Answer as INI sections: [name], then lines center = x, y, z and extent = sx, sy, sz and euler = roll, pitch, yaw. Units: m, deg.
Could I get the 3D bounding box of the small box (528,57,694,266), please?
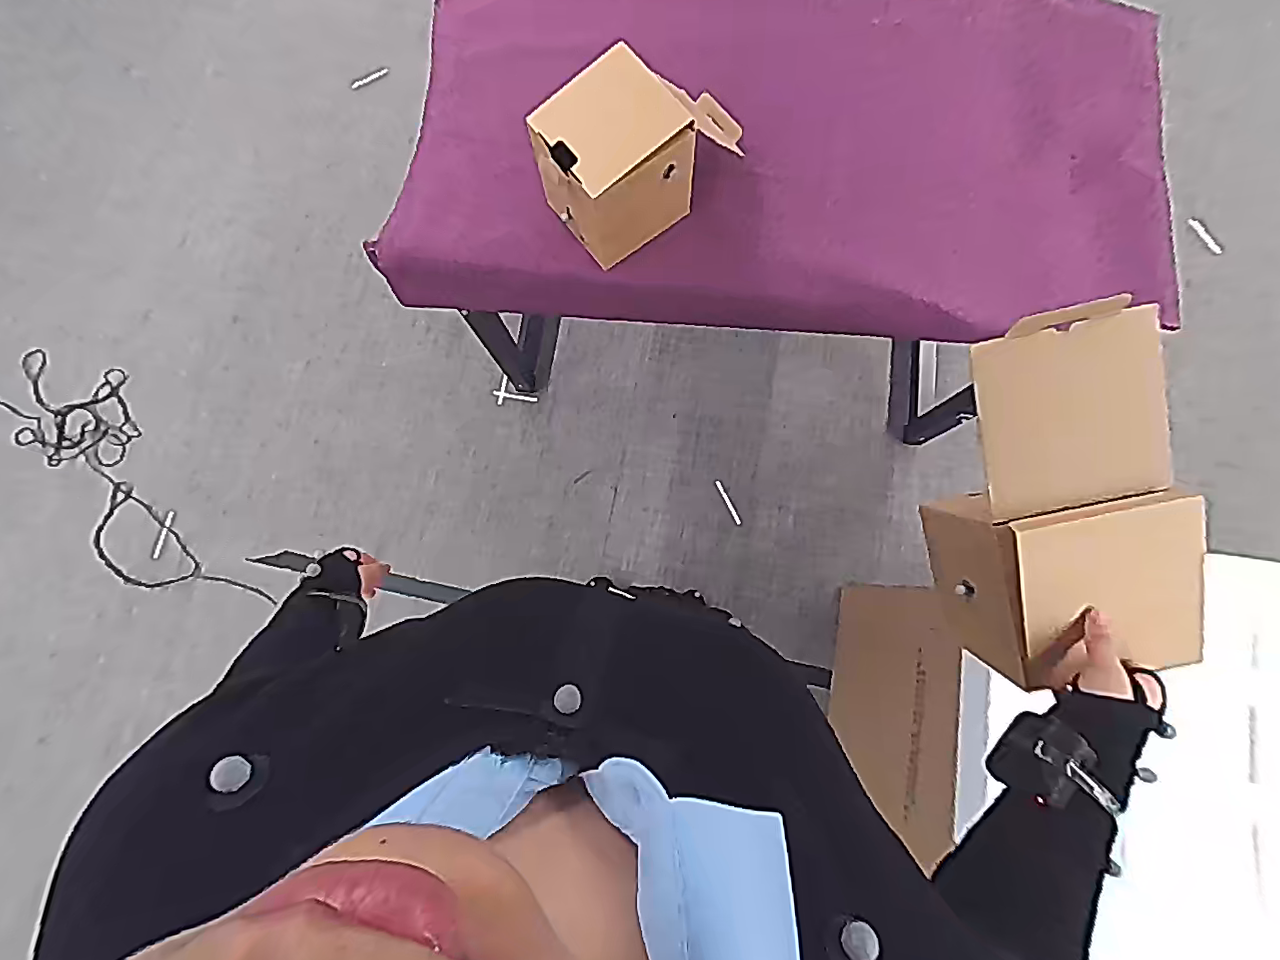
[small box]
center = -0.039, -0.469, 0.818
extent = 0.179, 0.176, 0.168
euler = -36, 79, -5
